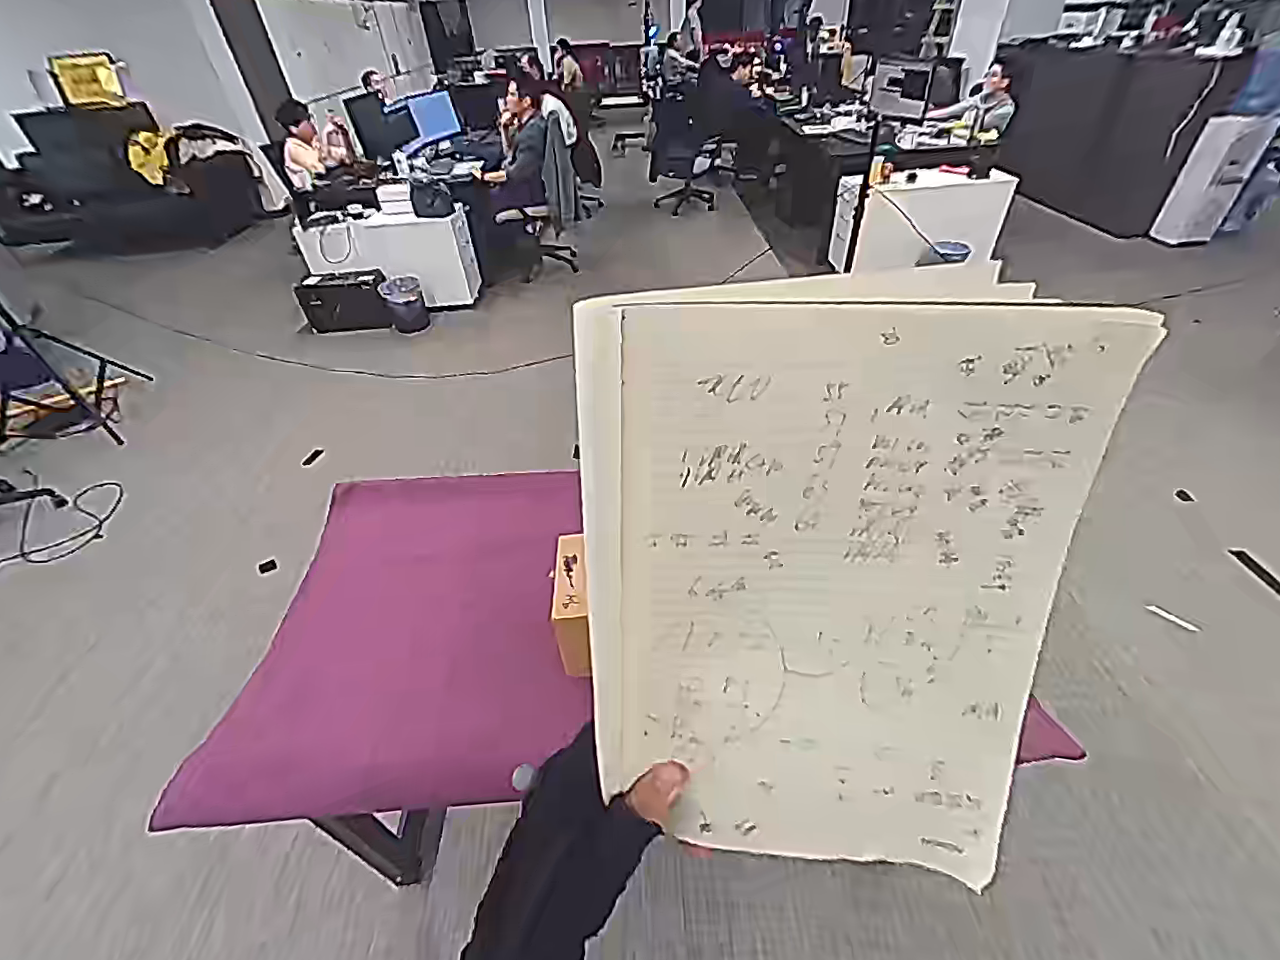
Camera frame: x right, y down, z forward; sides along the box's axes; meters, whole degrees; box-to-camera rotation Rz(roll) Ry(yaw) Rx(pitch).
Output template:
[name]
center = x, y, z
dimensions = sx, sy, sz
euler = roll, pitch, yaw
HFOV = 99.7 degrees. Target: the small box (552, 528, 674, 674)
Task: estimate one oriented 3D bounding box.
[small box]
center = -0.039, 0.198, 0.881
dimensions = 0.179, 0.176, 0.168
euler = -4, 40, 0
